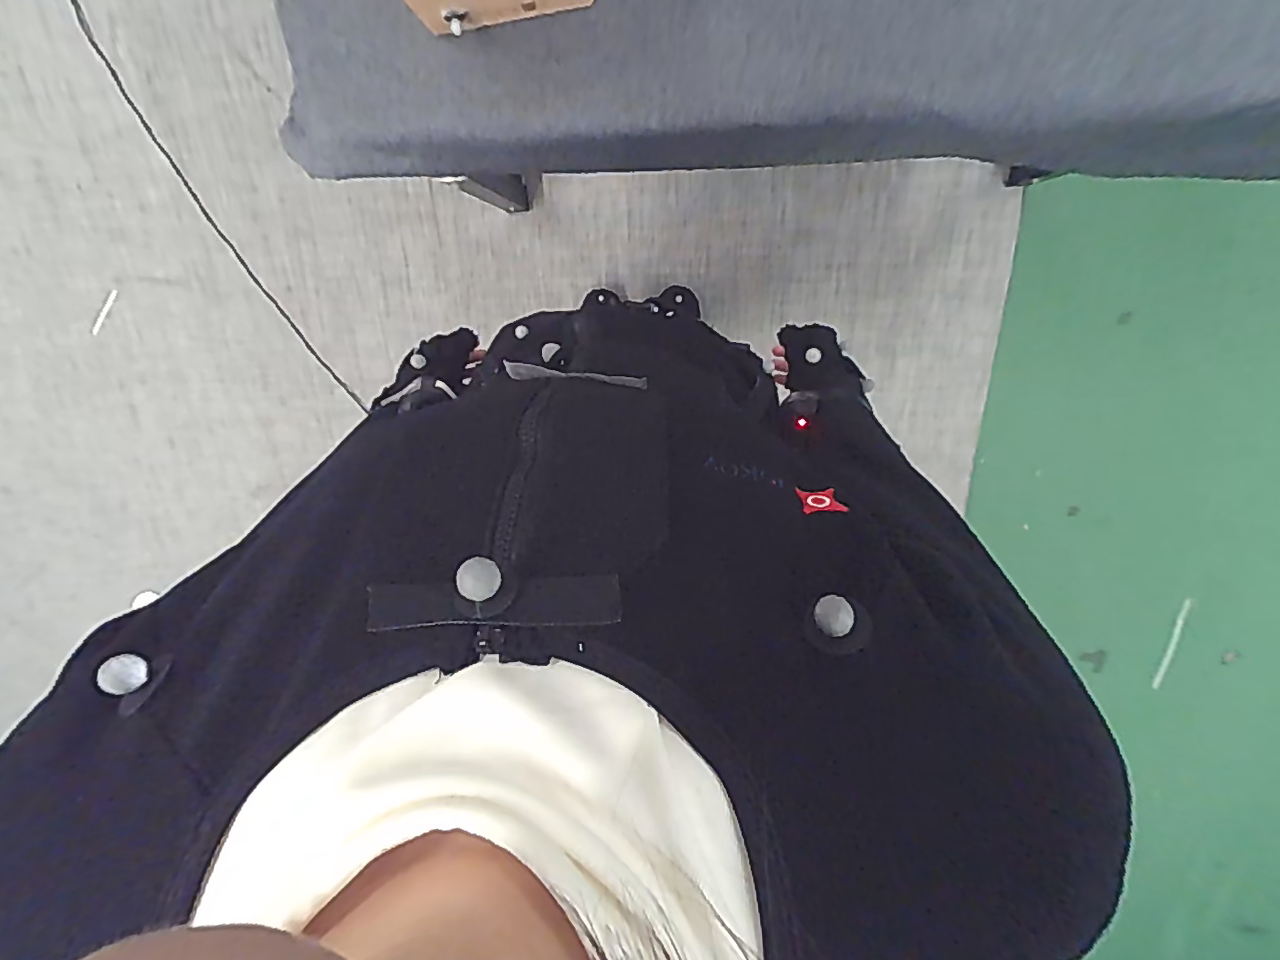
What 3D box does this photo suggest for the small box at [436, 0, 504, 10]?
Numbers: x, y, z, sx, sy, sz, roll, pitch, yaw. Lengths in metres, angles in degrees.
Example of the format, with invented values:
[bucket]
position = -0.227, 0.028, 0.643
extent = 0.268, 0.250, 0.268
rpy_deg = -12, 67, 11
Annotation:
[small box]
position = -0.135, -0.519, 0.429
extent = 0.168, 0.176, 0.179
rpy_deg = -7, 108, 5
